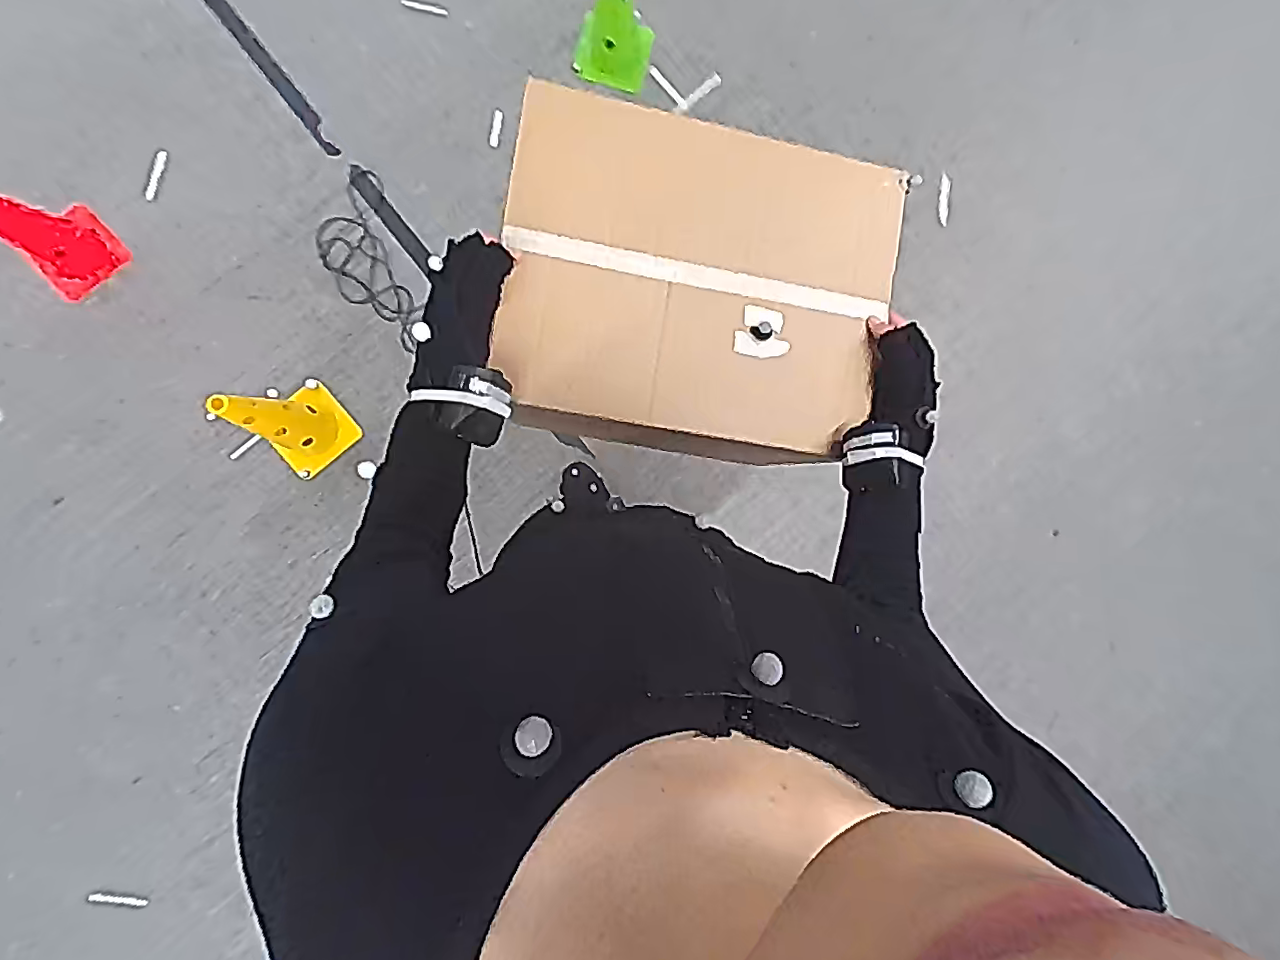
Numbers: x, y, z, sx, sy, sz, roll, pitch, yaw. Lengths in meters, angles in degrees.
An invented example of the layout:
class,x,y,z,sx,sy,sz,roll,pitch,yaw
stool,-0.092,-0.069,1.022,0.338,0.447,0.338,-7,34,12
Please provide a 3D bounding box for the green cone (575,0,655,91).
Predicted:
class,x,y,z,sx,sy,sz,roll,pitch,yaw
green cone,-0.055,-1.231,1.373,0.200,0.368,0.202,13,85,-4

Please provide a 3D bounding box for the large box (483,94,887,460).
class,x,y,z,sx,sy,sz,roll,pitch,yaw
large box,0.035,-0.208,0.704,0.408,0.320,0.320,8,89,-8

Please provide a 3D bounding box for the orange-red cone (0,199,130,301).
class,x,y,z,sx,sy,sz,roll,pitch,yaw
orange-red cone,-1.449,-0.597,1.242,0.198,0.360,0.199,-42,92,-4
